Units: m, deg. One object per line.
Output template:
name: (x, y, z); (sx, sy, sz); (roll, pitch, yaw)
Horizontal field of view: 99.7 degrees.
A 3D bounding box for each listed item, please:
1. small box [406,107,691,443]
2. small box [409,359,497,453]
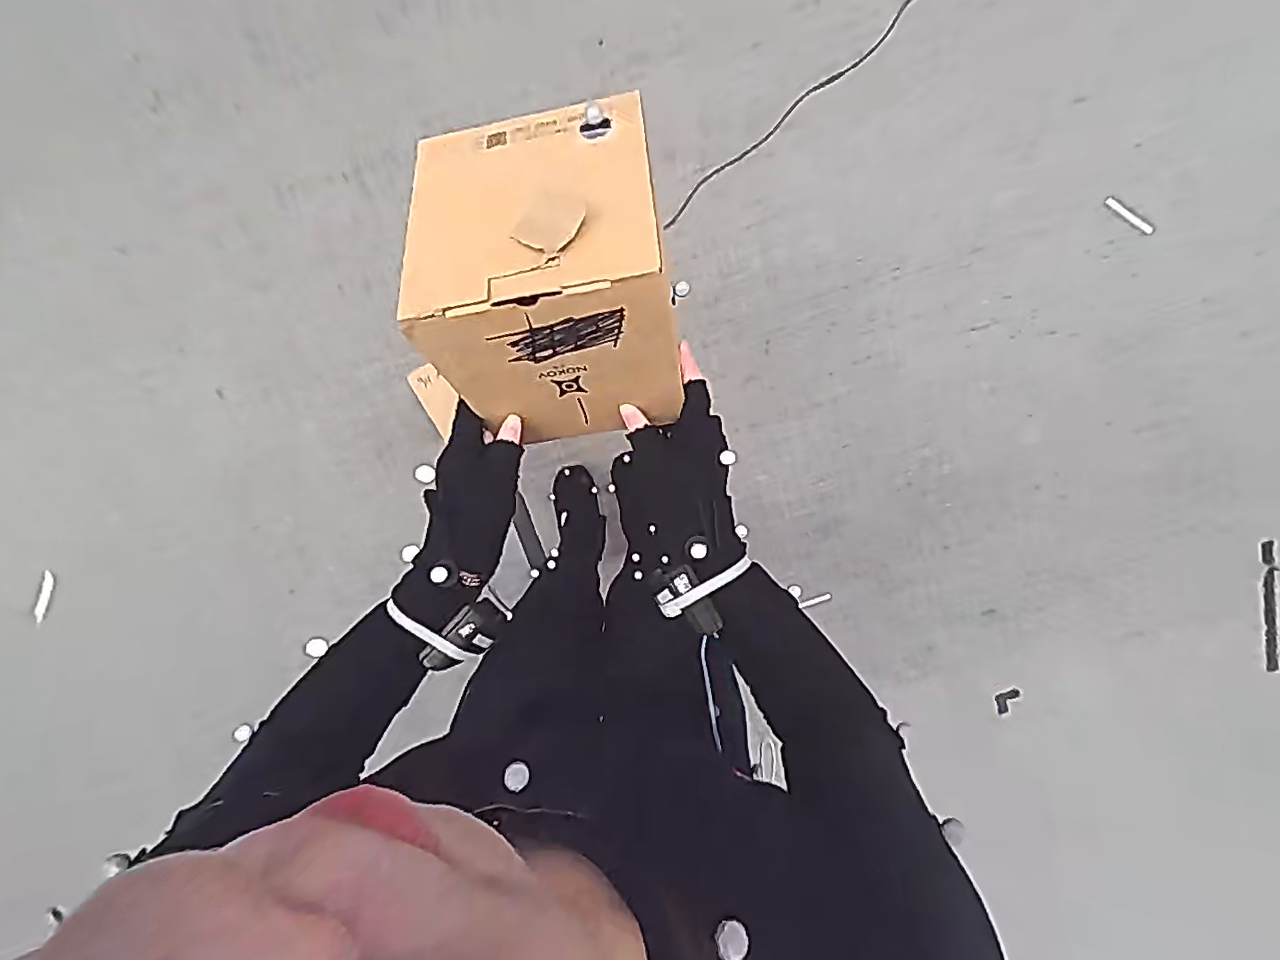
small box: (-0.056, -0.150, 0.419); (0.168, 0.179, 0.176); (-8, 67, 7)
small box: (-0.326, -0.180, 1.103); (0.168, 0.176, 0.179); (-27, 102, 5)
